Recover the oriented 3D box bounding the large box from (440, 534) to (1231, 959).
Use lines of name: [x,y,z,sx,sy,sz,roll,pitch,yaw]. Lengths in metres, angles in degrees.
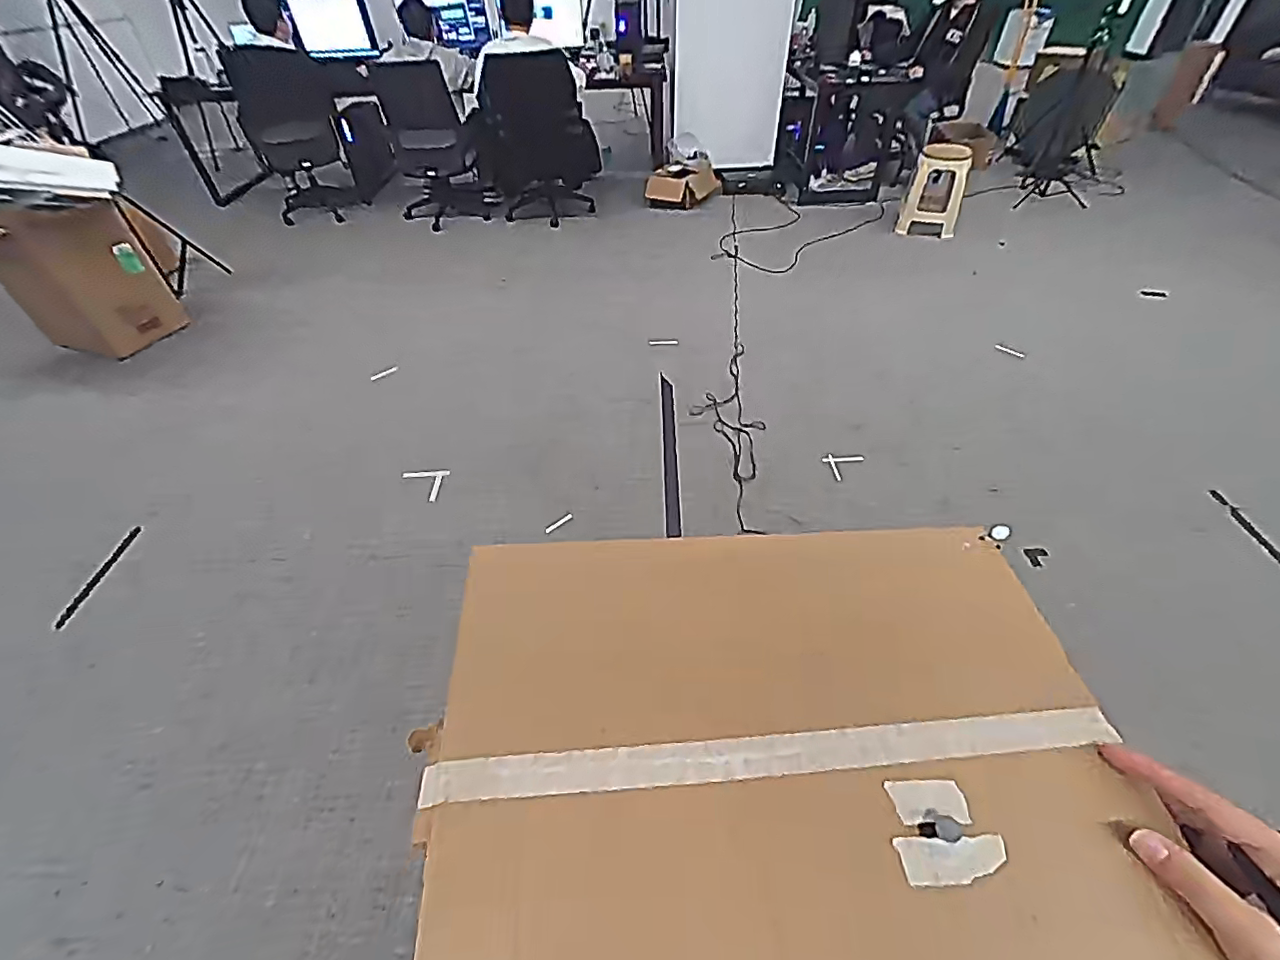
large box: [0.081,0.264,0.438,0.408,0.320,0.320,-1,49,-7]
